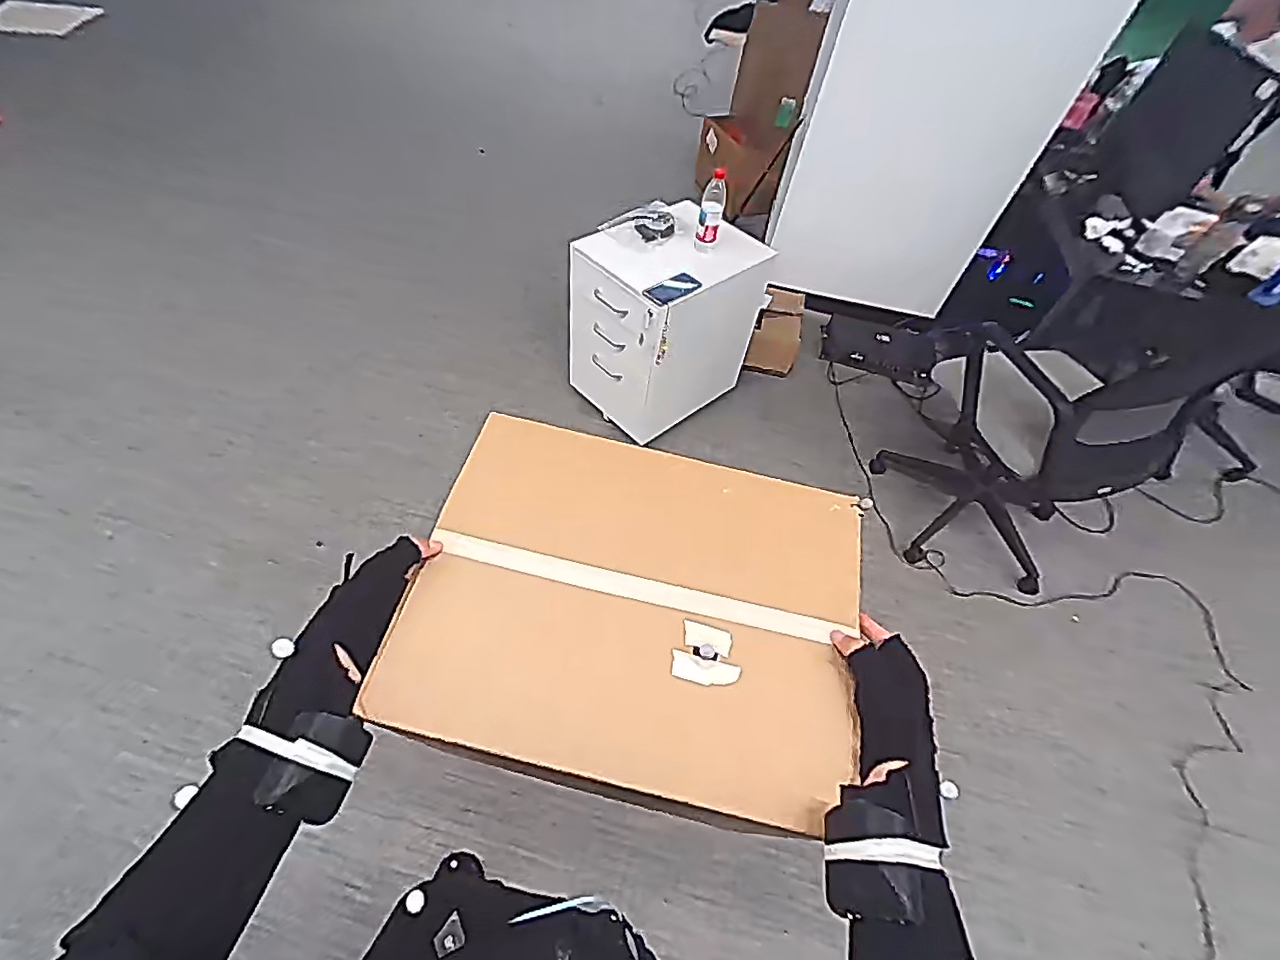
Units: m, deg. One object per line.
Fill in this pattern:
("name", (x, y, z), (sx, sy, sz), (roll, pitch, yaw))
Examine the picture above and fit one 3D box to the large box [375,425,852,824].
("large box", (-0.012, 0.183, 0.638), (0.408, 0.320, 0.320), (13, 59, 1))
